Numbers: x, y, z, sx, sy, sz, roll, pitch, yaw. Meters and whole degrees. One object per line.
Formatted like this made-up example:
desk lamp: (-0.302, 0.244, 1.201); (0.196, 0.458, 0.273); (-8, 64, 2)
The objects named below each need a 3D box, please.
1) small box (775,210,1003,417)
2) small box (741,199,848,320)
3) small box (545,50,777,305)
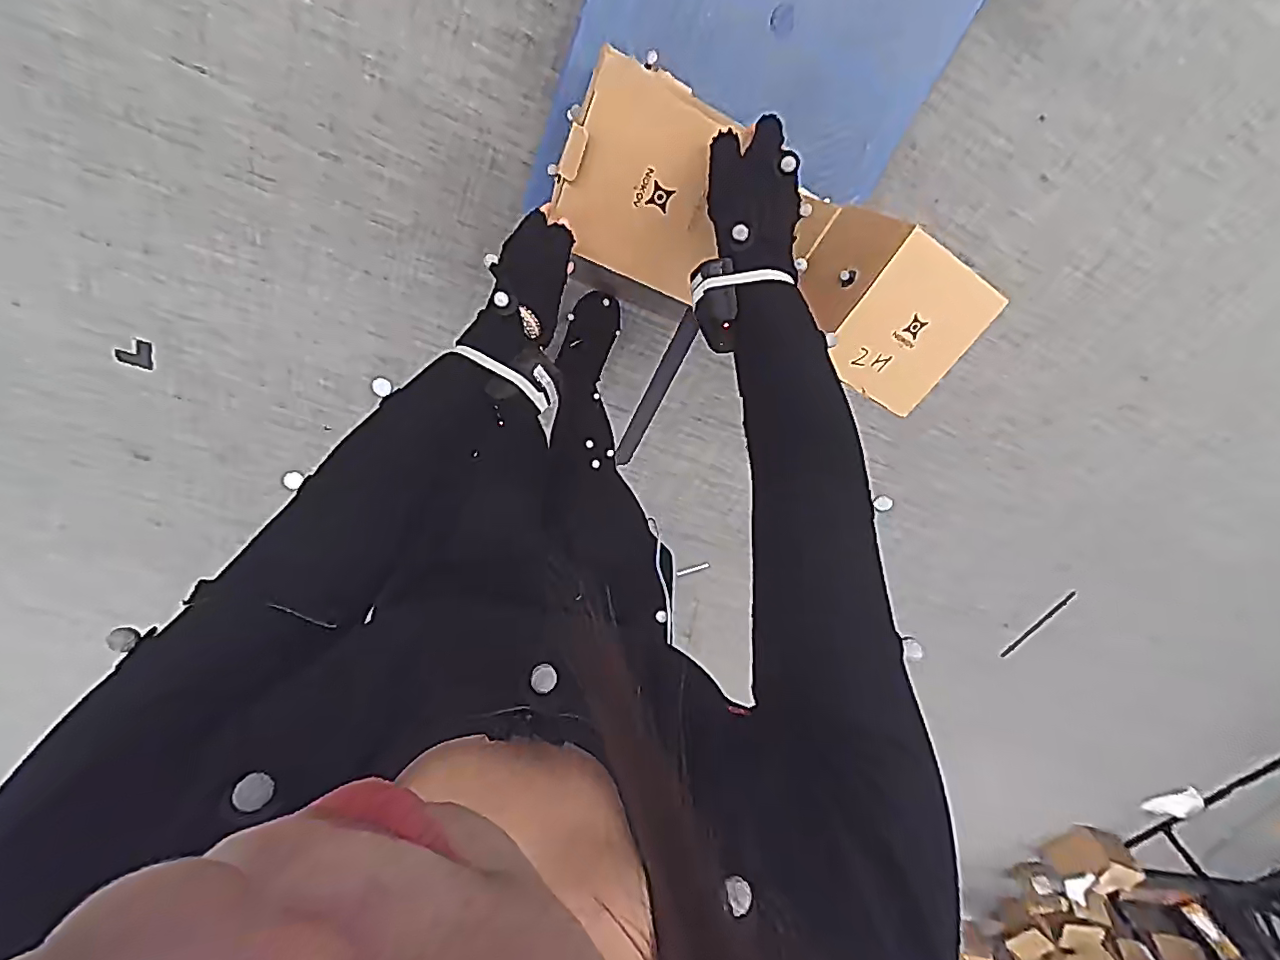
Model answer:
small box: (0.303, -0.220, 0.700); (0.168, 0.176, 0.179); (24, 118, -22)
small box: (0.283, -0.311, 0.836); (0.179, 0.176, 0.168); (22, 119, -22)
small box: (0.011, -0.323, 0.582); (0.179, 0.176, 0.168); (18, 126, -19)
